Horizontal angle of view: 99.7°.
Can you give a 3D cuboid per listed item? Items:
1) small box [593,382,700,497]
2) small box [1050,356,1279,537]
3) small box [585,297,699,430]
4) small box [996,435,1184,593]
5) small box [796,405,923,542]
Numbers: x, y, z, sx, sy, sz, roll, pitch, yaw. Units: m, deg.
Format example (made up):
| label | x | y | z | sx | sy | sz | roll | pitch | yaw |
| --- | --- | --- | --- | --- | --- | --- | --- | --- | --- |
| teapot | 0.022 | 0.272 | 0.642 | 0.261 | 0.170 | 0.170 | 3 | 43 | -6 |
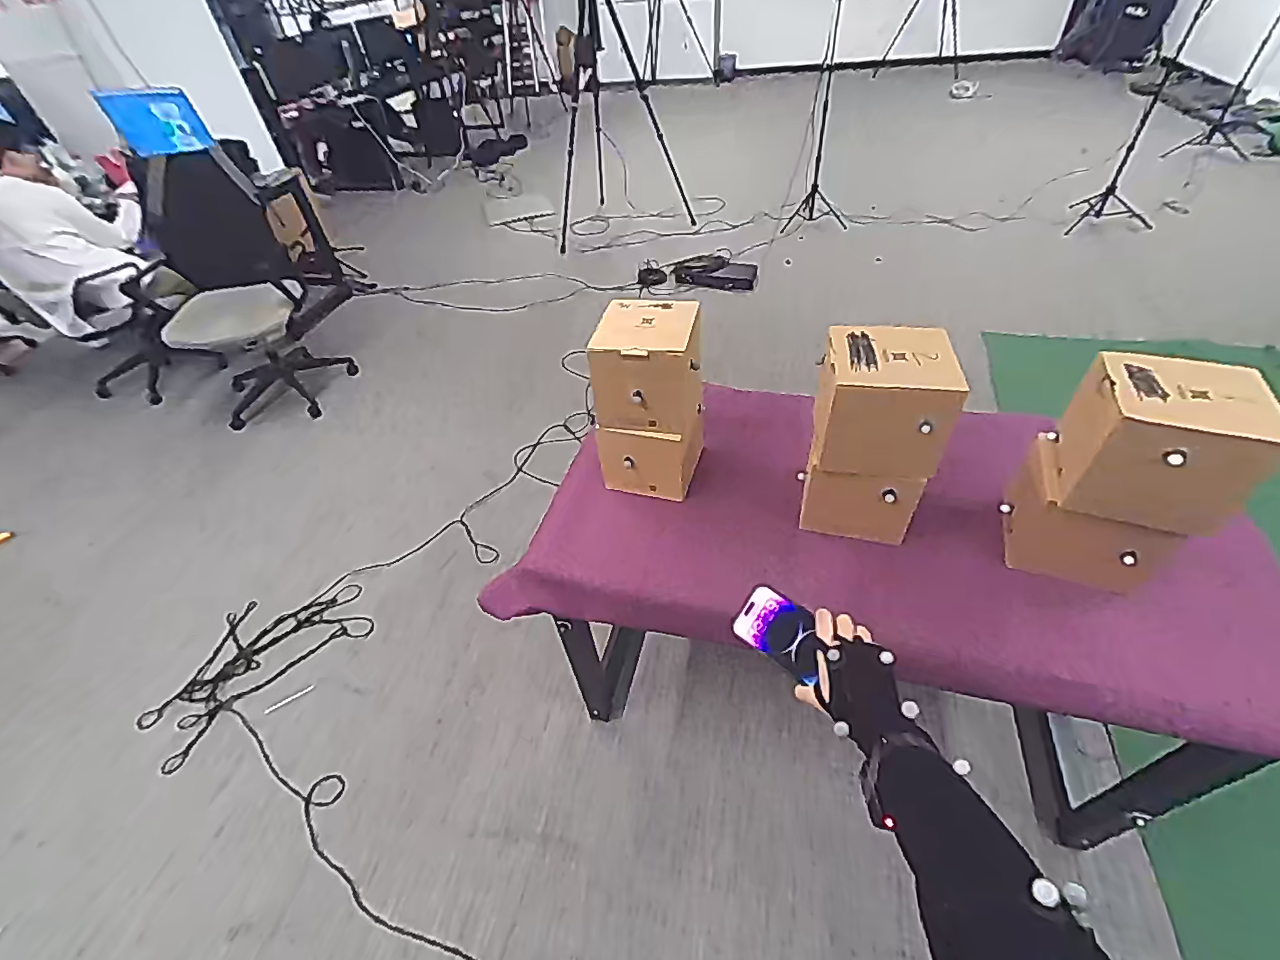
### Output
| label | x | y | z | sx | sy | sz | roll | pitch | yaw |
| --- | --- | --- | --- | --- | --- | --- | --- | --- | --- |
| small box | 0.023 | -0.088 | 1.088 | 0.168 | 0.176 | 0.179 | 10 | 47 | 16 |
| small box | 0.698 | -0.046 | 0.743 | 0.179 | 0.176 | 0.168 | 15 | 48 | 19 |
| small box | 0.013 | -0.210 | 0.978 | 0.168 | 0.176 | 0.179 | 7 | 47 | 12 |
| small box | 0.706 | 0.058 | 0.871 | 0.179 | 0.176 | 0.168 | 15 | 48 | 20 |
| small box | 0.388 | -0.010 | 0.969 | 0.179 | 0.176 | 0.168 | 10 | 47 | 15 |
